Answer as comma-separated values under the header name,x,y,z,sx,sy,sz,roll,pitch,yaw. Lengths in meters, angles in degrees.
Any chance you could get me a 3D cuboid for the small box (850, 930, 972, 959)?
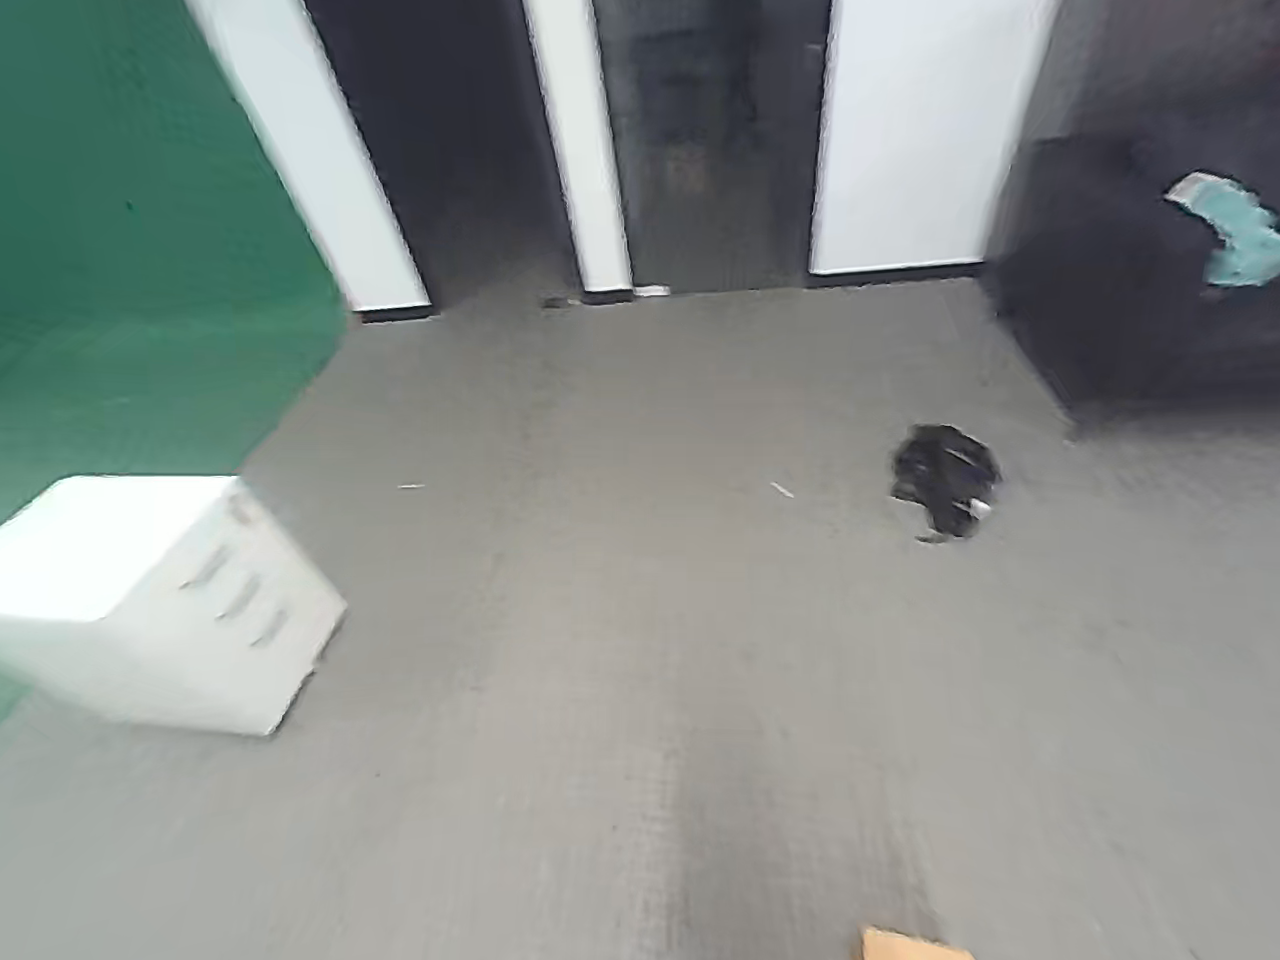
name,x,y,z,sx,sy,sz,roll,pitch,yaw
small box,0.443,0.874,0.879,0.168,0.176,0.179,4,46,14
